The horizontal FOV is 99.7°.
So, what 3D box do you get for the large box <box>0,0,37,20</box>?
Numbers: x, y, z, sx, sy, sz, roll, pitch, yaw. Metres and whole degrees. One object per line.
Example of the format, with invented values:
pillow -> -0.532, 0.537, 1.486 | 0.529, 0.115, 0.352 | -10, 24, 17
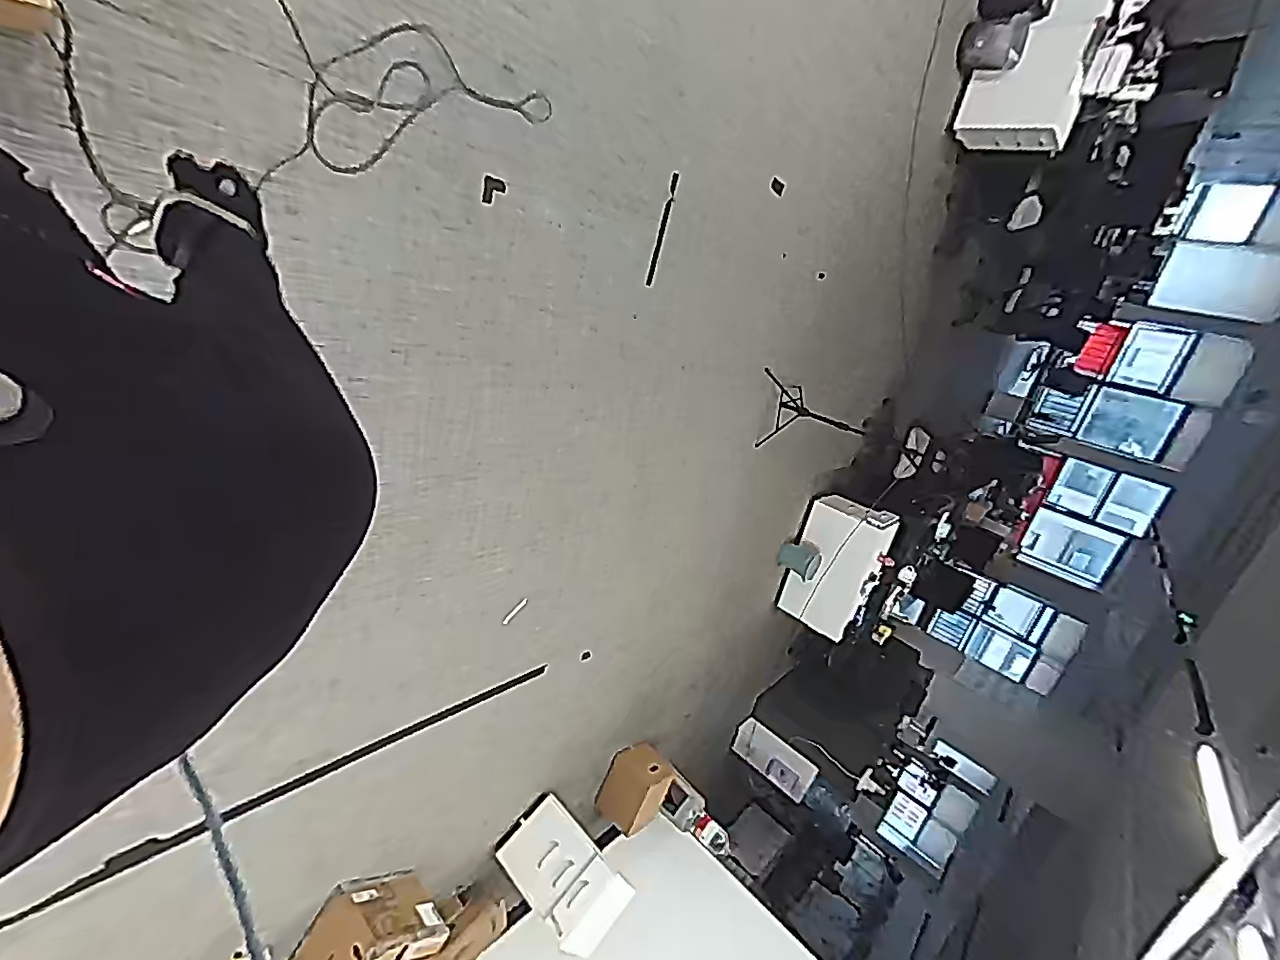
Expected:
large box -> -0.996, -0.776, 0.587 | 0.408, 0.320, 0.320 | -18, 126, -45
